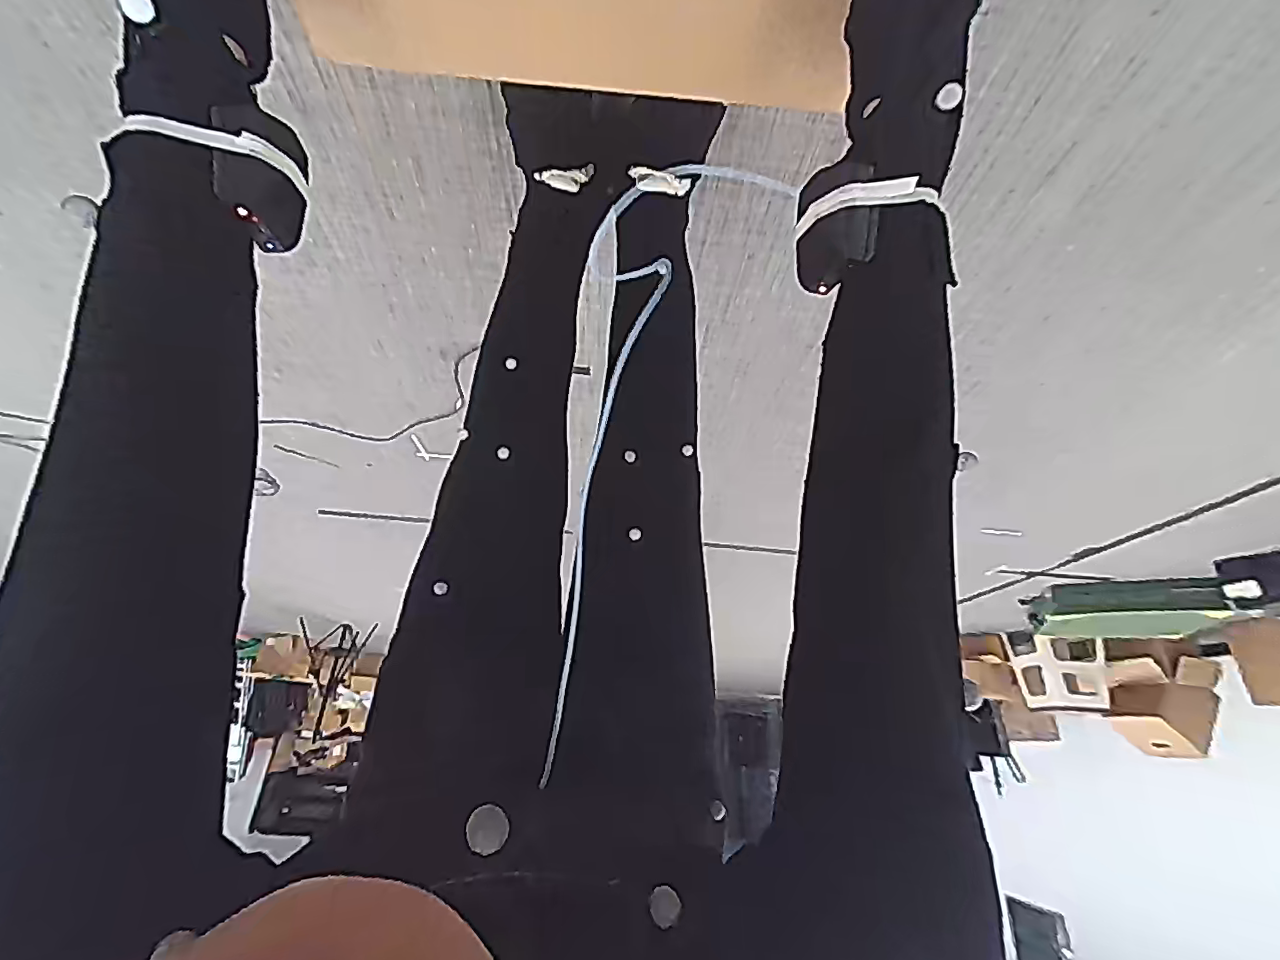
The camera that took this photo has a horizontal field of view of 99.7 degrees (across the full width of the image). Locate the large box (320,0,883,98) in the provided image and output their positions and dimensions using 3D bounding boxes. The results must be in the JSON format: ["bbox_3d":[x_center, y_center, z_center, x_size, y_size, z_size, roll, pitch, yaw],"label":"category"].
[{"bbox_3d":[-0.021,-0.512,0.352,0.408,0.320,0.320,4,156,-1],"label":"large box"}]
